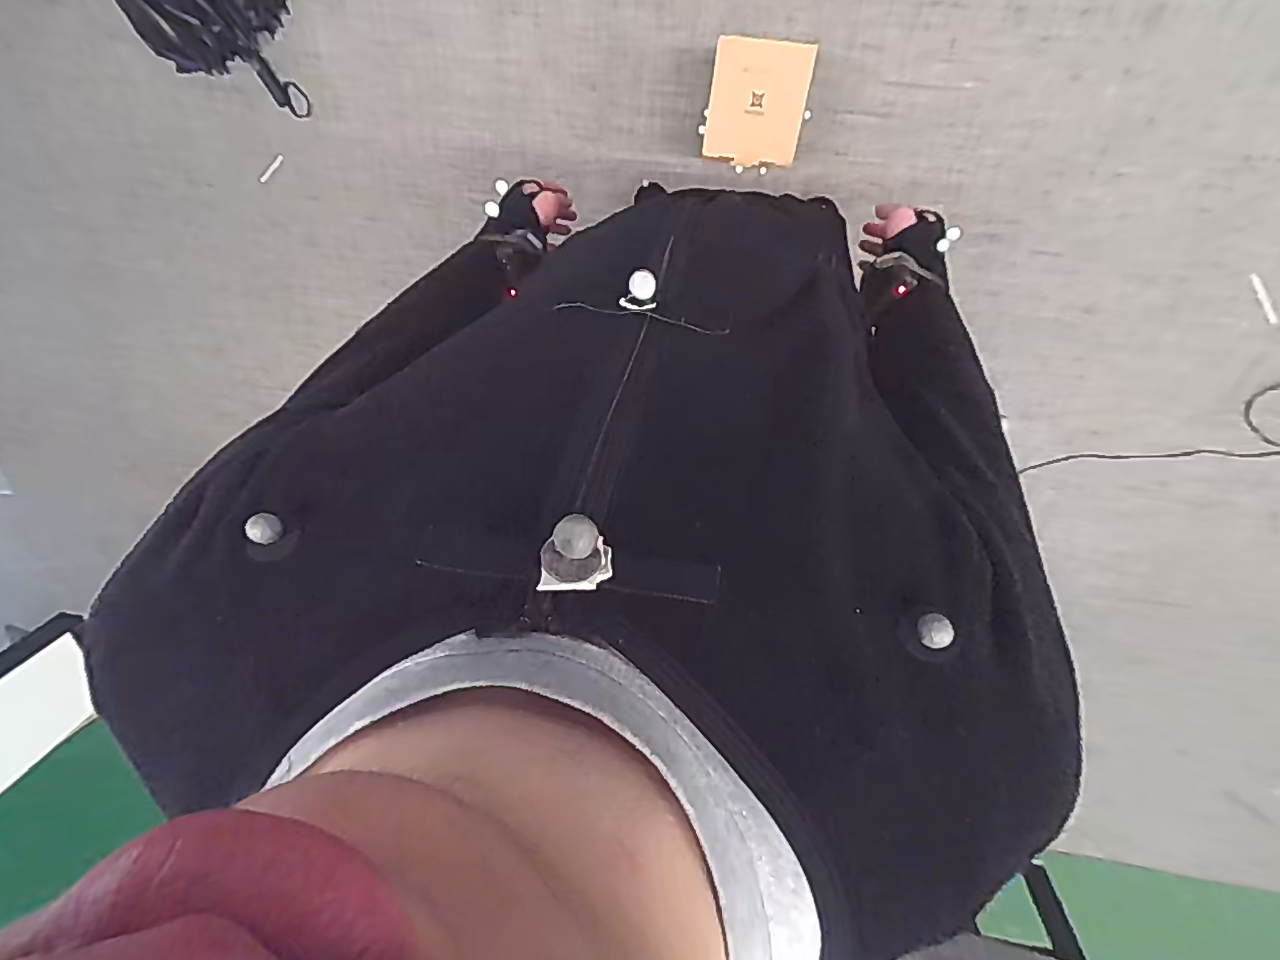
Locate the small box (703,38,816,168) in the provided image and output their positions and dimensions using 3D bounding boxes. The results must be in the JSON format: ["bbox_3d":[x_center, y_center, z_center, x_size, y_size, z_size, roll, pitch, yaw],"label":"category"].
[{"bbox_3d":[0.215,-0.689,1.006,0.168,0.176,0.179,9,120,4],"label":"small box"}]
